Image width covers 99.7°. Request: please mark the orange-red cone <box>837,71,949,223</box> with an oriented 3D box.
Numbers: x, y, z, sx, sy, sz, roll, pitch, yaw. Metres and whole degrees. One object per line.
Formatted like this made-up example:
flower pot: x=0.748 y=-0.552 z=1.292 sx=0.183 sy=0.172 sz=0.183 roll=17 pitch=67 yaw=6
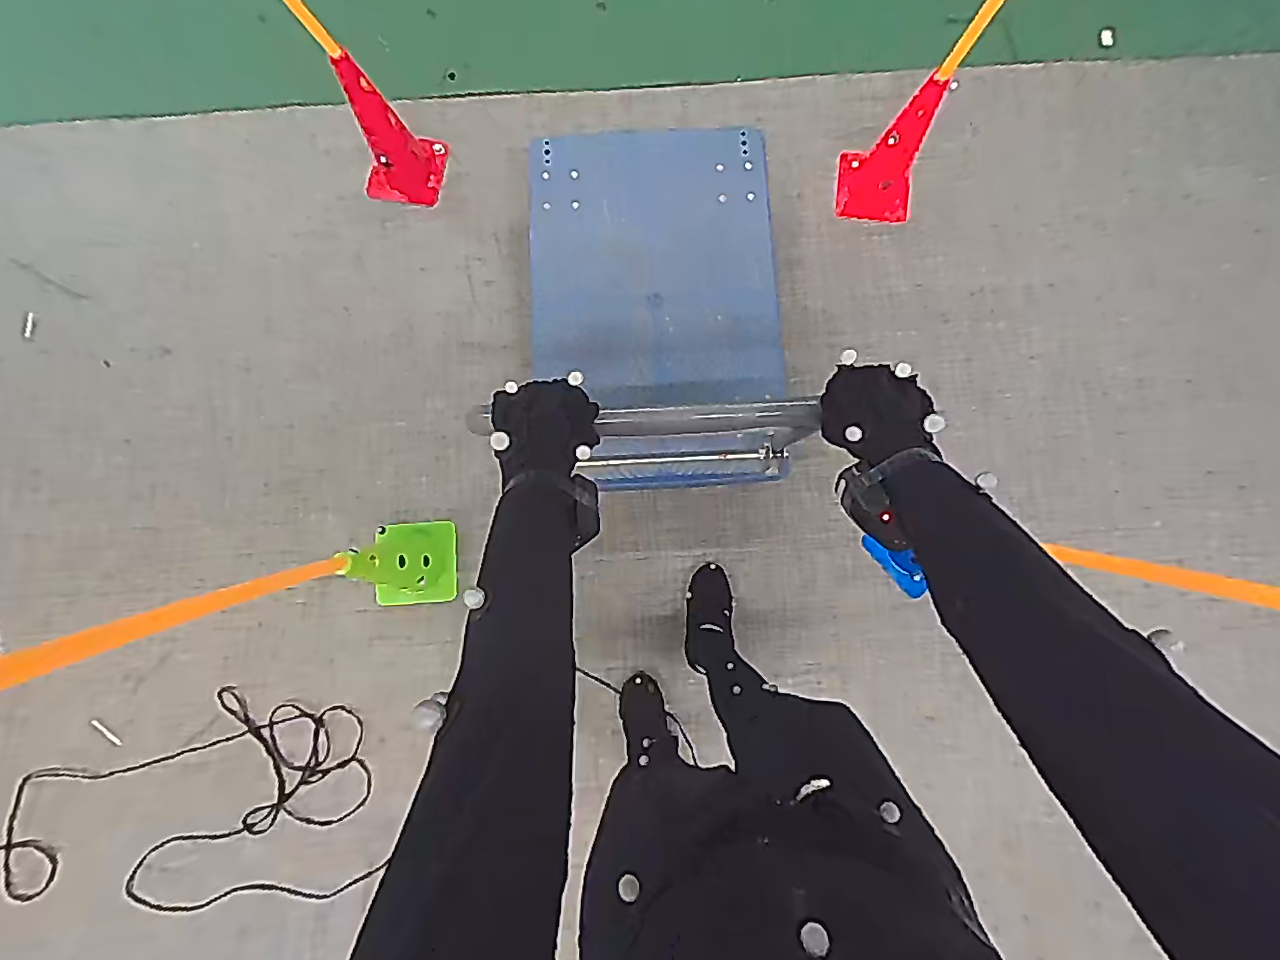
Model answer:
orange-red cone: x=0.646 y=-0.830 z=1.325 sx=0.198 sy=0.360 sz=0.199 roll=8 pitch=83 yaw=2
